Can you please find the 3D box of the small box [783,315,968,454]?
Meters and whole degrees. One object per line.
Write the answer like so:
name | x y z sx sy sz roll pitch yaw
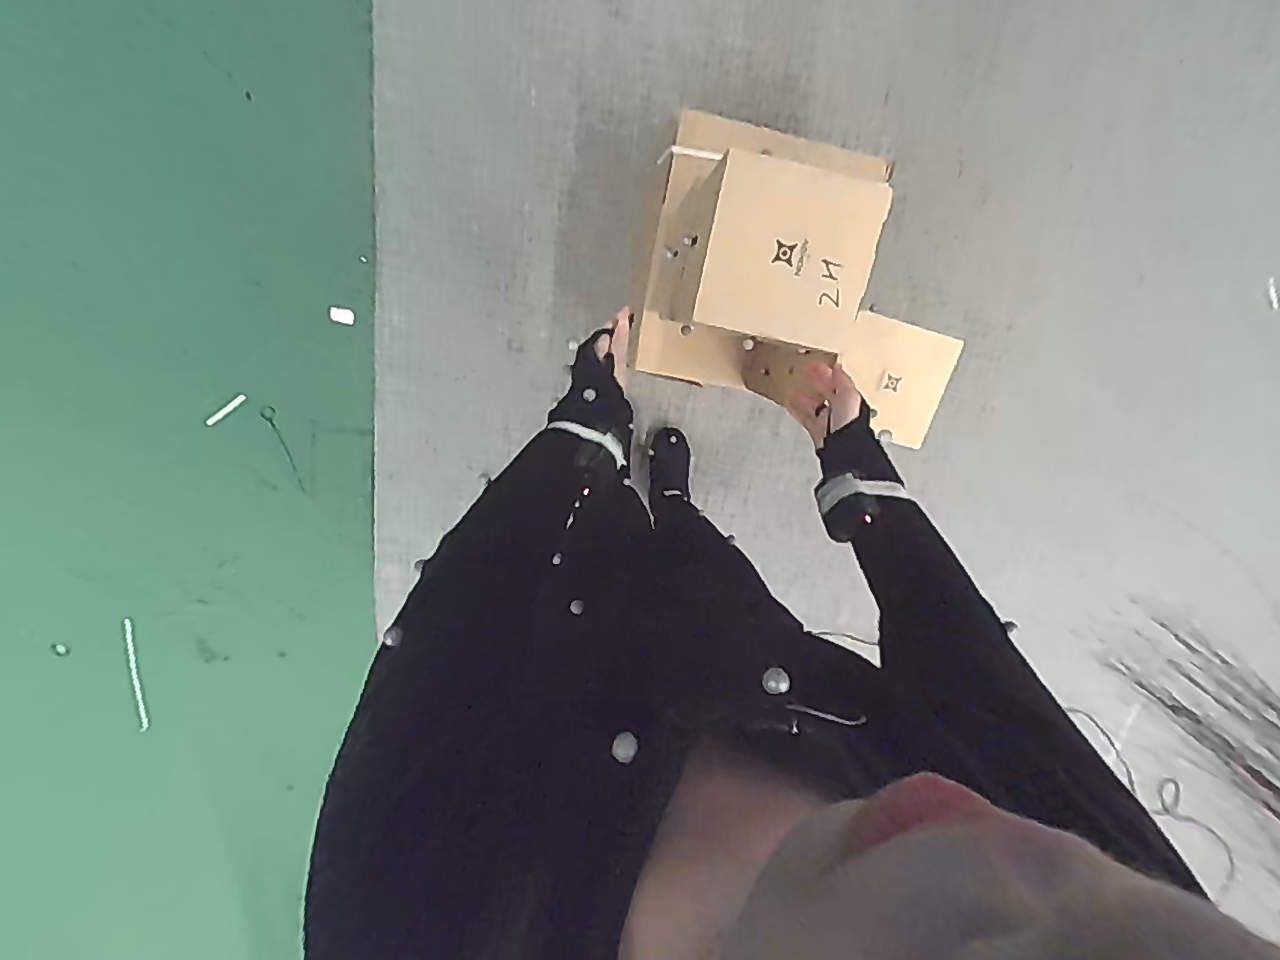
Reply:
small box | 0.351 -0.156 0.843 0.179 0.176 0.168 13 105 -9

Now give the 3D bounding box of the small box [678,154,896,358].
small box | 0.149 -0.243 0.624 0.179 0.176 0.168 10 105 -7

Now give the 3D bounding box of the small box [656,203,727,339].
small box | 0.129 -0.349 0.936 0.168 0.176 0.179 12 104 -7

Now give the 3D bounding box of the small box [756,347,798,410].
small box | 0.328 -0.212 0.994 0.168 0.176 0.179 12 104 -10
